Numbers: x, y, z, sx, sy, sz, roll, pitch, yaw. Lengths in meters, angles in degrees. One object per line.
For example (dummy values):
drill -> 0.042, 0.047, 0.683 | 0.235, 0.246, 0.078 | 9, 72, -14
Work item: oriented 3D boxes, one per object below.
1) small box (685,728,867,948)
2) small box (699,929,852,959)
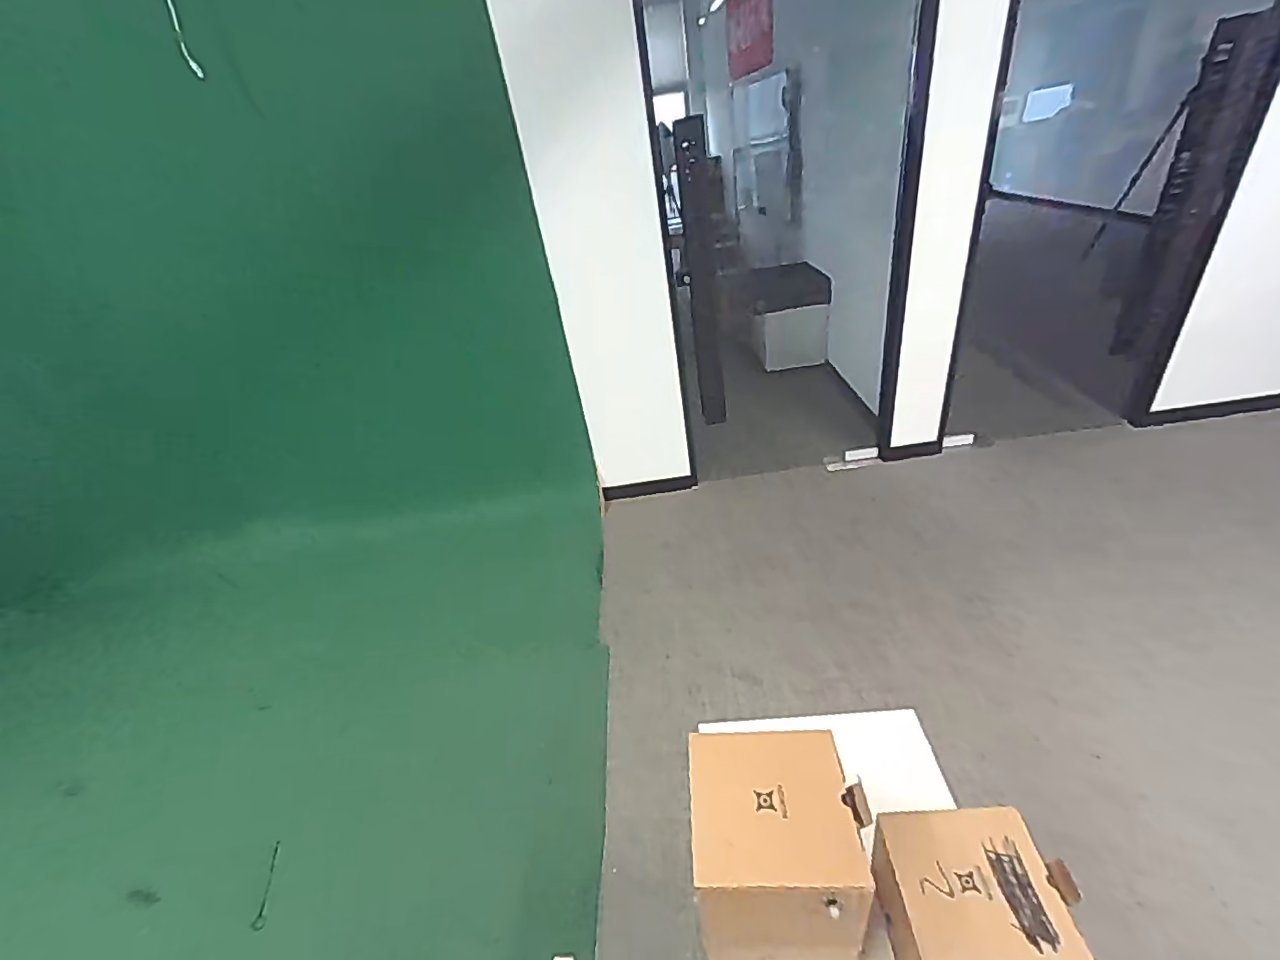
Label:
small box -> 0.148, 0.419, 0.637 | 0.179, 0.176, 0.168 | -4, 32, 5
small box -> 0.169, 0.555, 0.726 | 0.179, 0.176, 0.168 | -6, 32, 4
